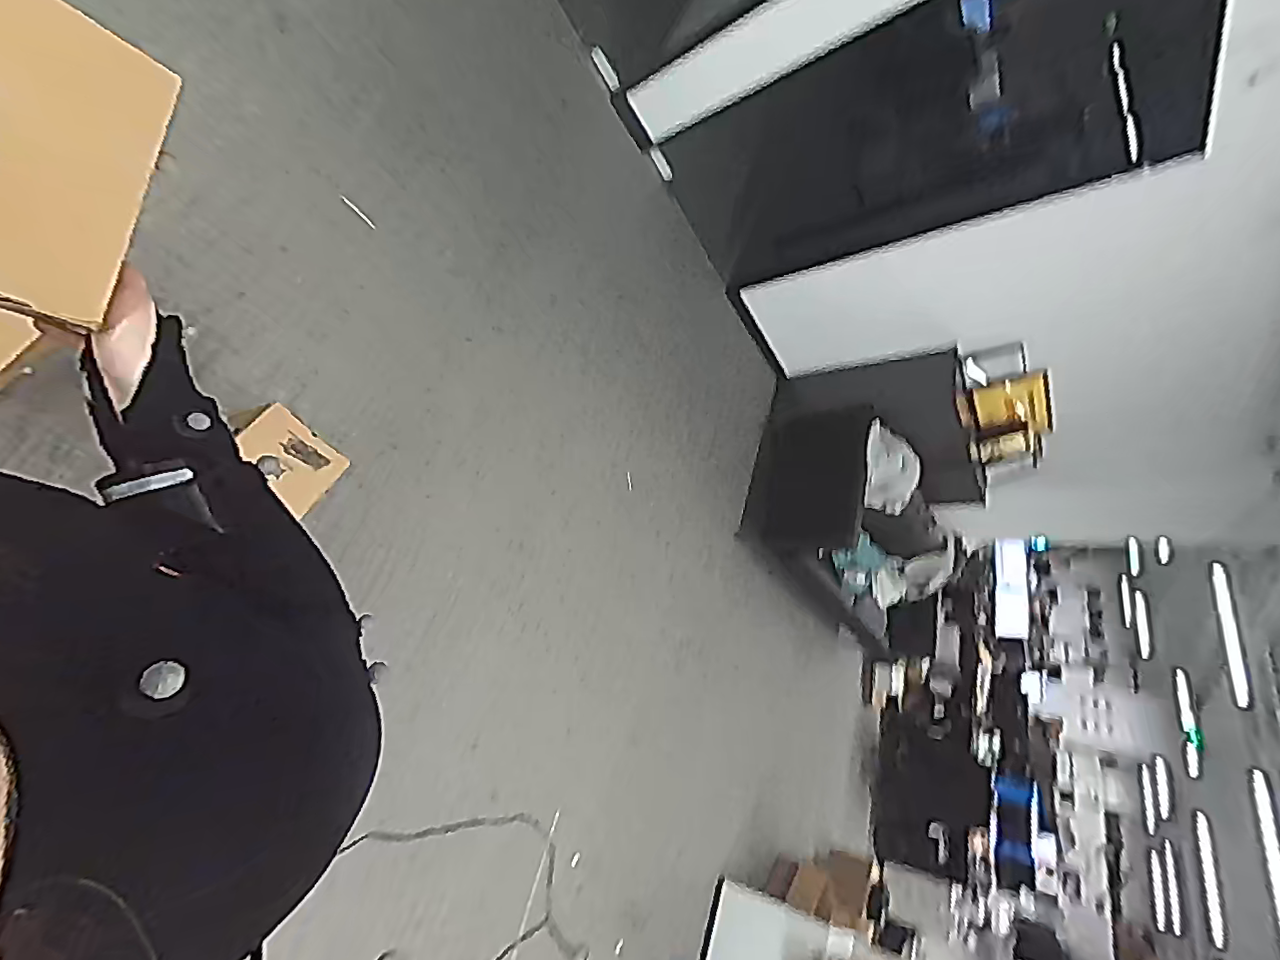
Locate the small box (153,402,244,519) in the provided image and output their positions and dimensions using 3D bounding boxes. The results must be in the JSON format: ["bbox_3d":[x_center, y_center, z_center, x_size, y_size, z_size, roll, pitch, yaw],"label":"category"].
[{"bbox_3d":[-0.834,-0.035,1.102,0.168,0.176,0.179,53,51,-37],"label":"small box"}]

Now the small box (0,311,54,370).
[{"bbox_3d":[-1.045,-0.286,0.841,0.168,0.176,0.179,45,56,-40],"label":"small box"}]

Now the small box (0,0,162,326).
[{"bbox_3d":[-0.443,-0.212,0.331,0.168,0.176,0.179,19,86,-55],"label":"small box"}]

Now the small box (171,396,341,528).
[{"bbox_3d":[-0.708,-0.032,0.996,0.168,0.176,0.179,54,51,-36],"label":"small box"}]
